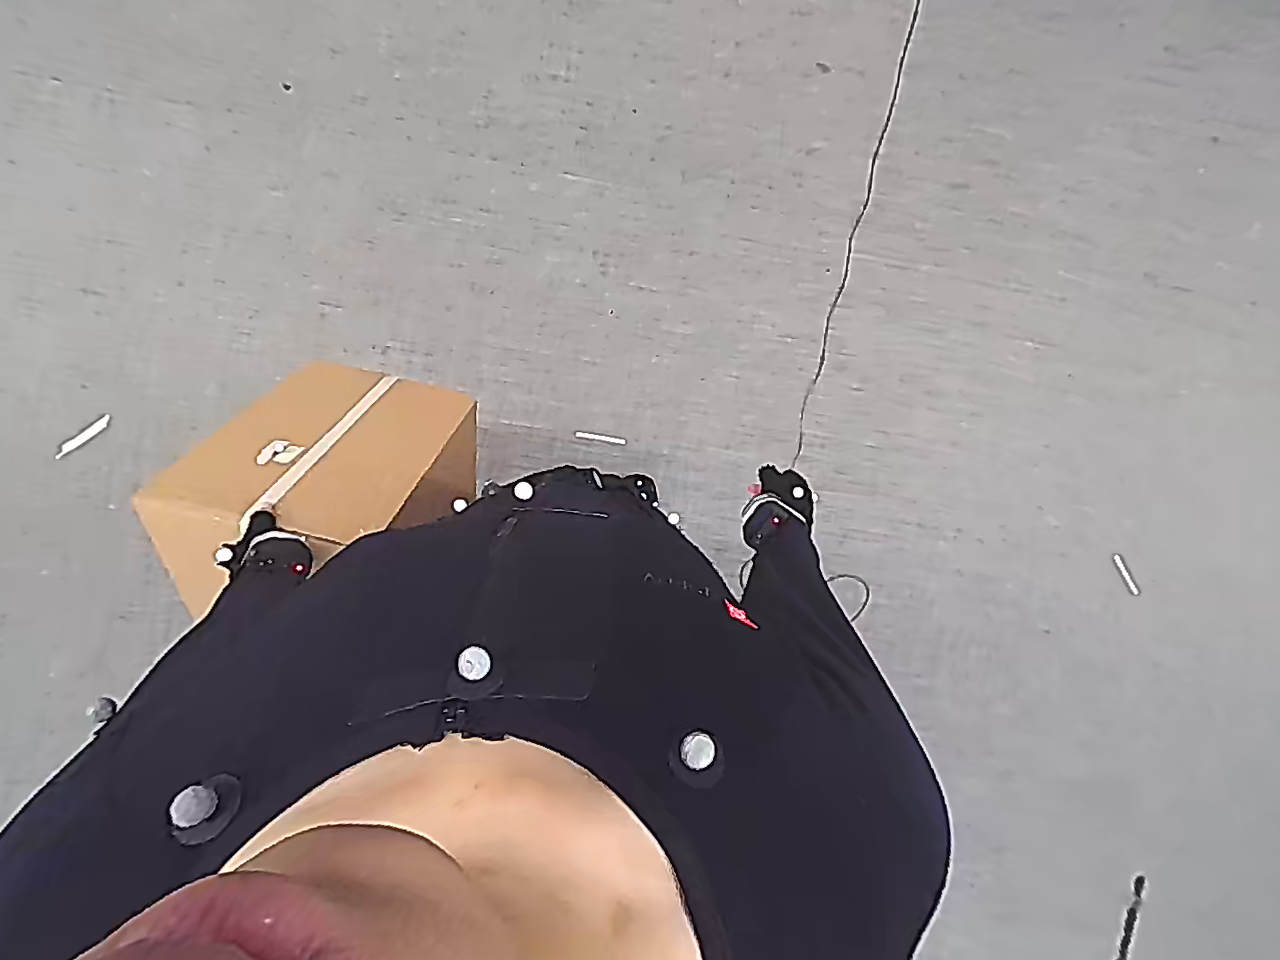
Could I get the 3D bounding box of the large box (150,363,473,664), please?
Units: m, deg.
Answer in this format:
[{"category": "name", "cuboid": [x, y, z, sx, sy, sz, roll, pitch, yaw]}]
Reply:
[{"category": "large box", "cuboid": [-0.515, 0.048, 0.969, 0.320, 0.408, 0.320, 13, 130, -1]}]
